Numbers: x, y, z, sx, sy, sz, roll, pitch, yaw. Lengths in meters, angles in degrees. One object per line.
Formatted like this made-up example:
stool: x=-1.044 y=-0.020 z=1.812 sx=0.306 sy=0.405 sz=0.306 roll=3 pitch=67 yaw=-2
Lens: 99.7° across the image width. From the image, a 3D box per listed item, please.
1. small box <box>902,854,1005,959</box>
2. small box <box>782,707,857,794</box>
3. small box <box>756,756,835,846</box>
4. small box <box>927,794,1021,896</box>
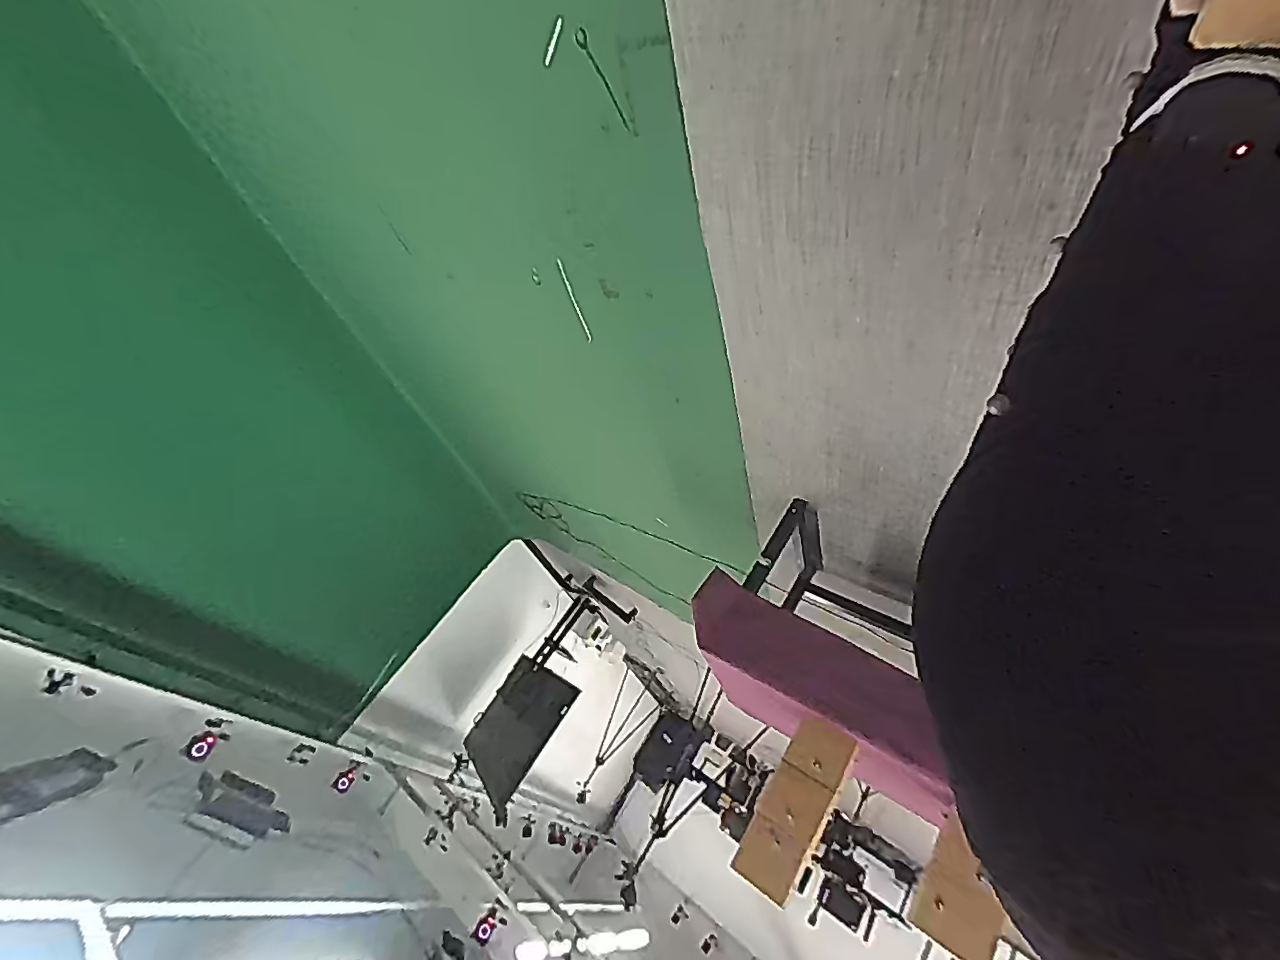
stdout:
small box: x=0.820 y=1.118 z=1.422 sx=0.179 sy=0.176 sz=0.168 roll=23 pitch=154 yaw=31
small box: x=0.574 y=0.857 z=1.719 sx=0.179 sy=0.176 sz=0.168 roll=23 pitch=154 yaw=33
small box: x=0.479 y=0.976 z=1.660 sx=0.179 sy=0.176 sz=0.168 roll=21 pitch=152 yaw=33
small box: x=0.913 y=0.998 z=1.483 sx=0.168 sy=0.176 sz=0.179 roll=22 pitch=154 yaw=32
